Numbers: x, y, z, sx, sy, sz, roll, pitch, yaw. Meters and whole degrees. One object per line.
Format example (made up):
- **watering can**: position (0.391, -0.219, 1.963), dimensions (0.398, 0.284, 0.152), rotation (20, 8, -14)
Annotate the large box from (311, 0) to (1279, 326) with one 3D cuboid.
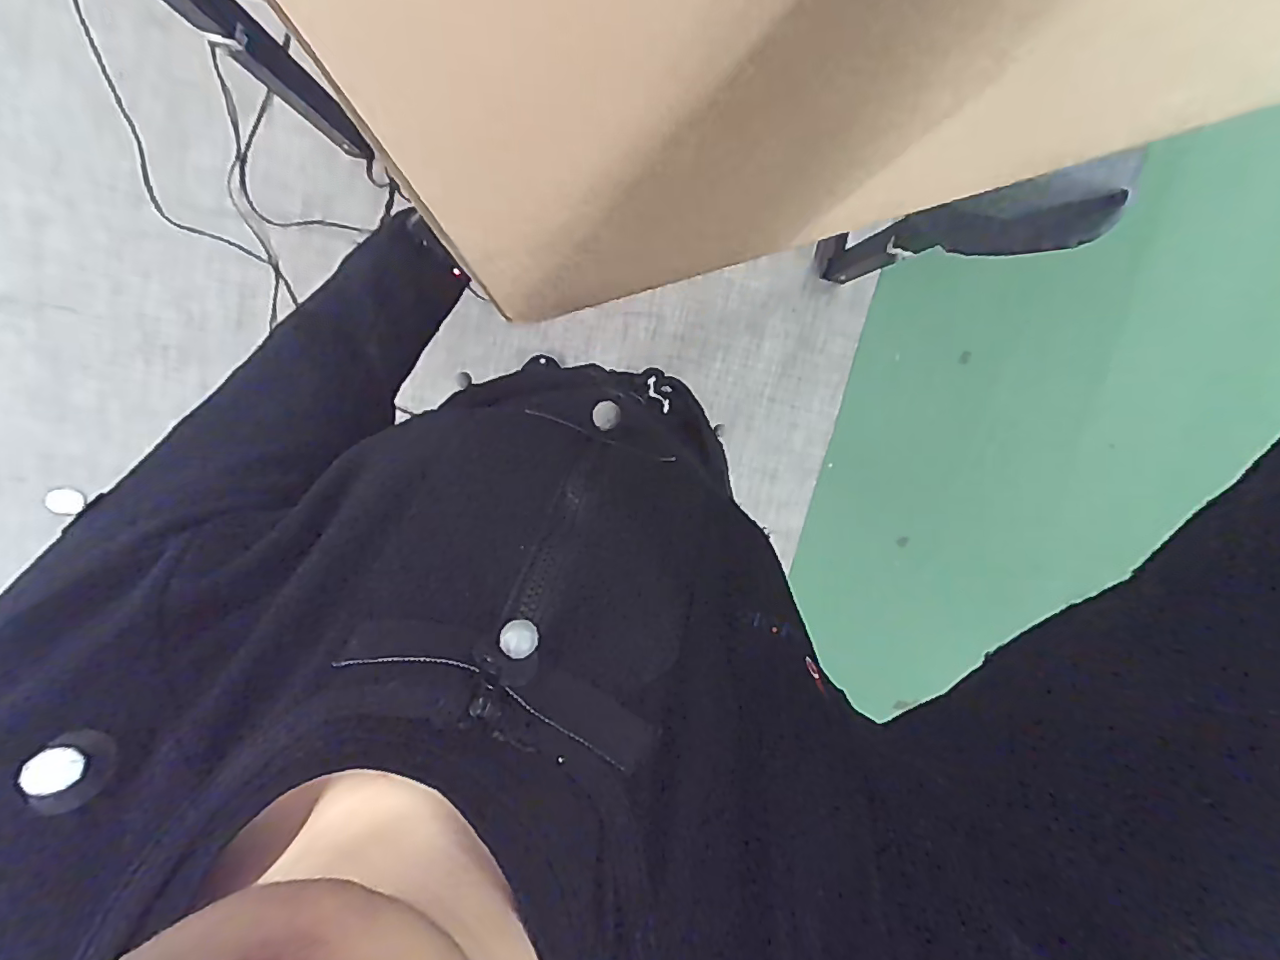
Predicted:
- **large box**: position (0.064, -0.338, 0.254), dimensions (0.408, 0.320, 0.320), rotation (-14, 59, 15)
